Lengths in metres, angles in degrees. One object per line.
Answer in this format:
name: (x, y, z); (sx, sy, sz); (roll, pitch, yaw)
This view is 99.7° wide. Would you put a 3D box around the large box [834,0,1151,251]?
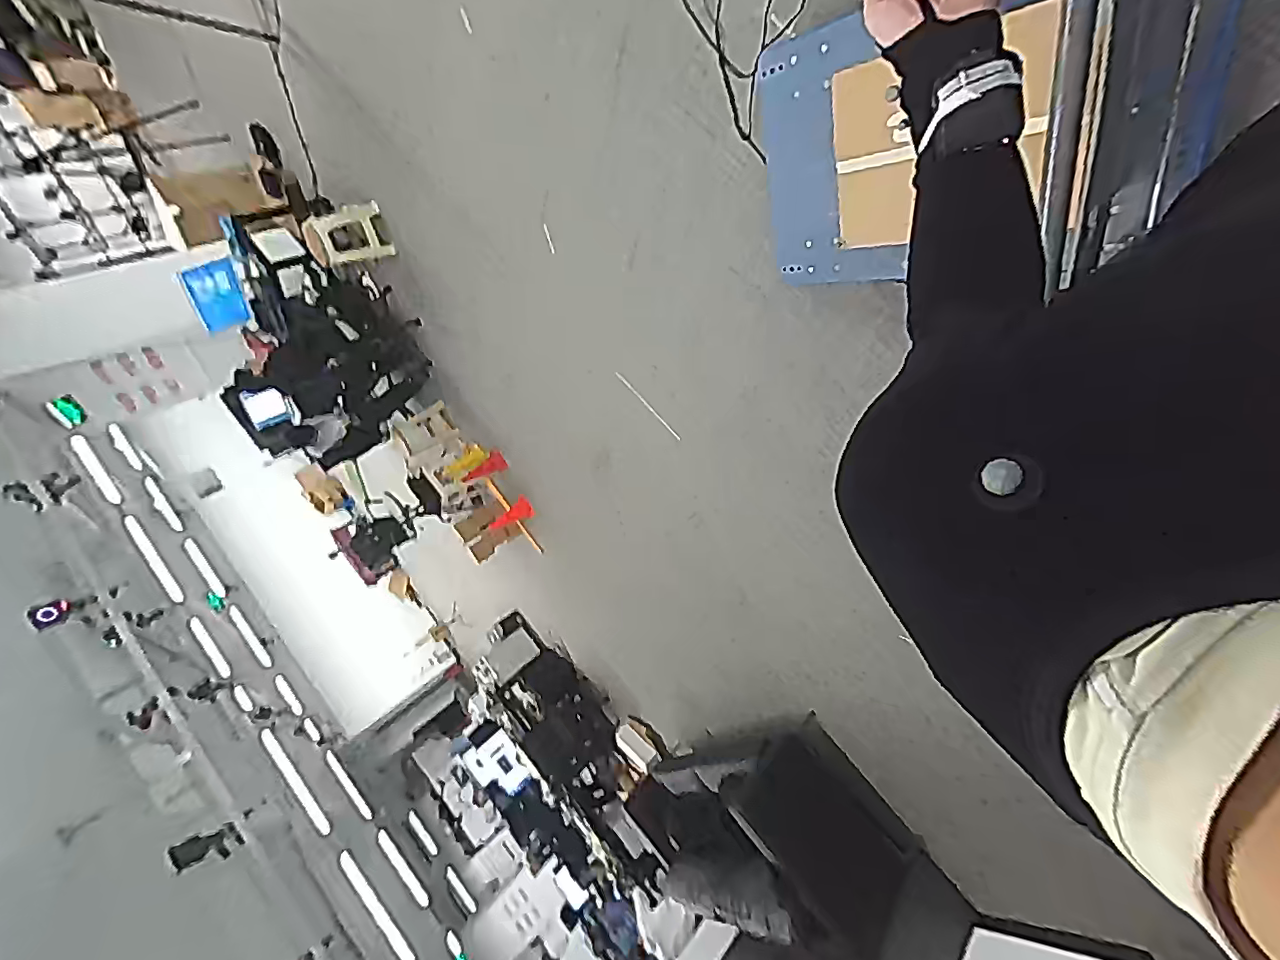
large box: (0.632, -0.644, 1.005); (0.408, 0.320, 0.320); (18, 132, 46)
